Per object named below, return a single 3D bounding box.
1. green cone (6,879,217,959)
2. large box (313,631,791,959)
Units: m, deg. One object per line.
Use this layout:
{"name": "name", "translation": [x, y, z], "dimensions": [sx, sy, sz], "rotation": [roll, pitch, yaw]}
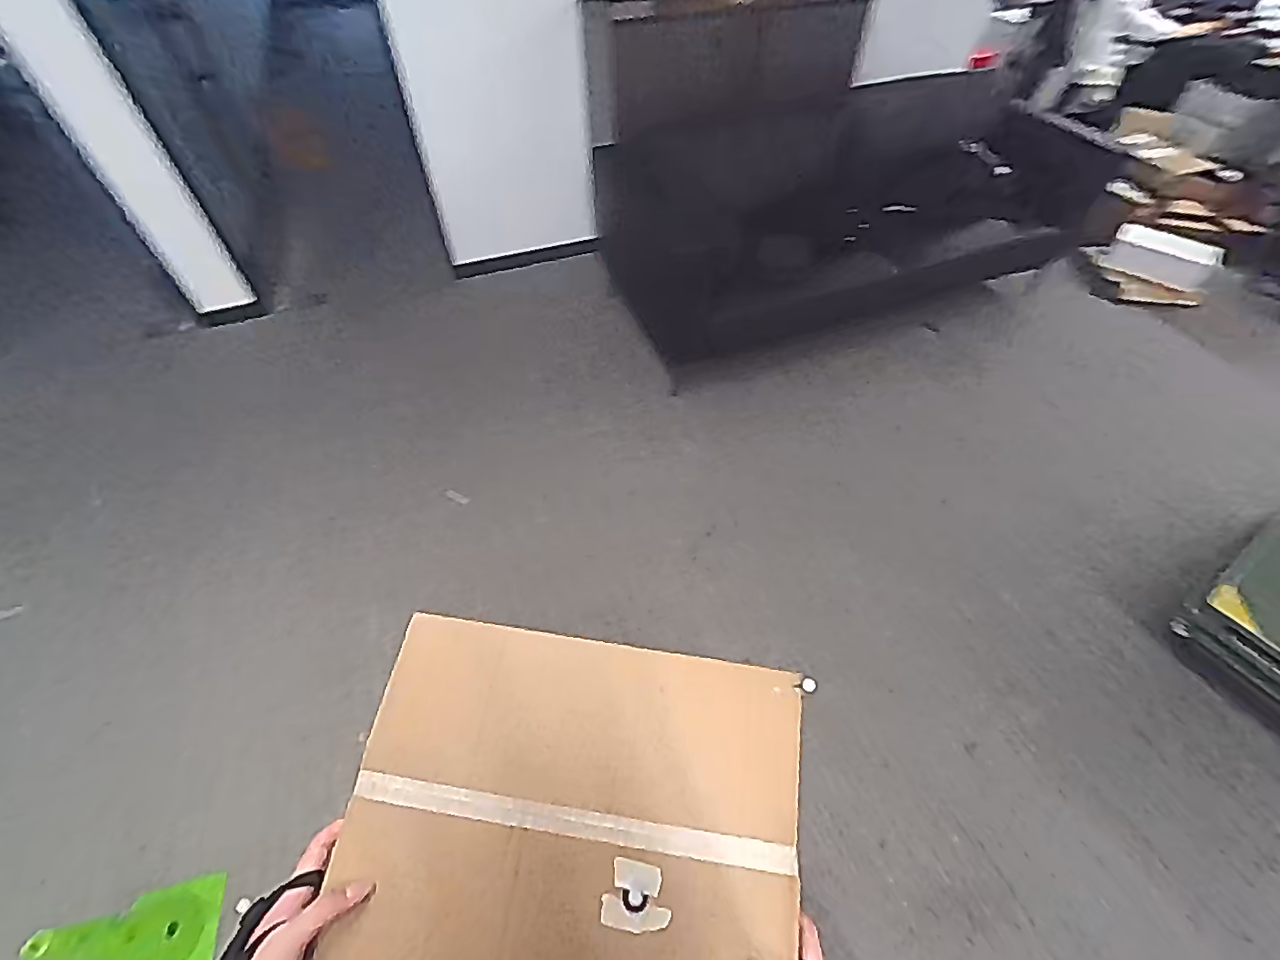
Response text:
{"name": "green cone", "translation": [-1.076, 0.934, 1.082], "dimensions": [0.202, 0.368, 0.200], "rotation": [-12, 52, -9]}
{"name": "large box", "translation": [-0.065, 0.380, 0.625], "dimensions": [0.408, 0.320, 0.320], "rotation": [7, 65, 2]}
